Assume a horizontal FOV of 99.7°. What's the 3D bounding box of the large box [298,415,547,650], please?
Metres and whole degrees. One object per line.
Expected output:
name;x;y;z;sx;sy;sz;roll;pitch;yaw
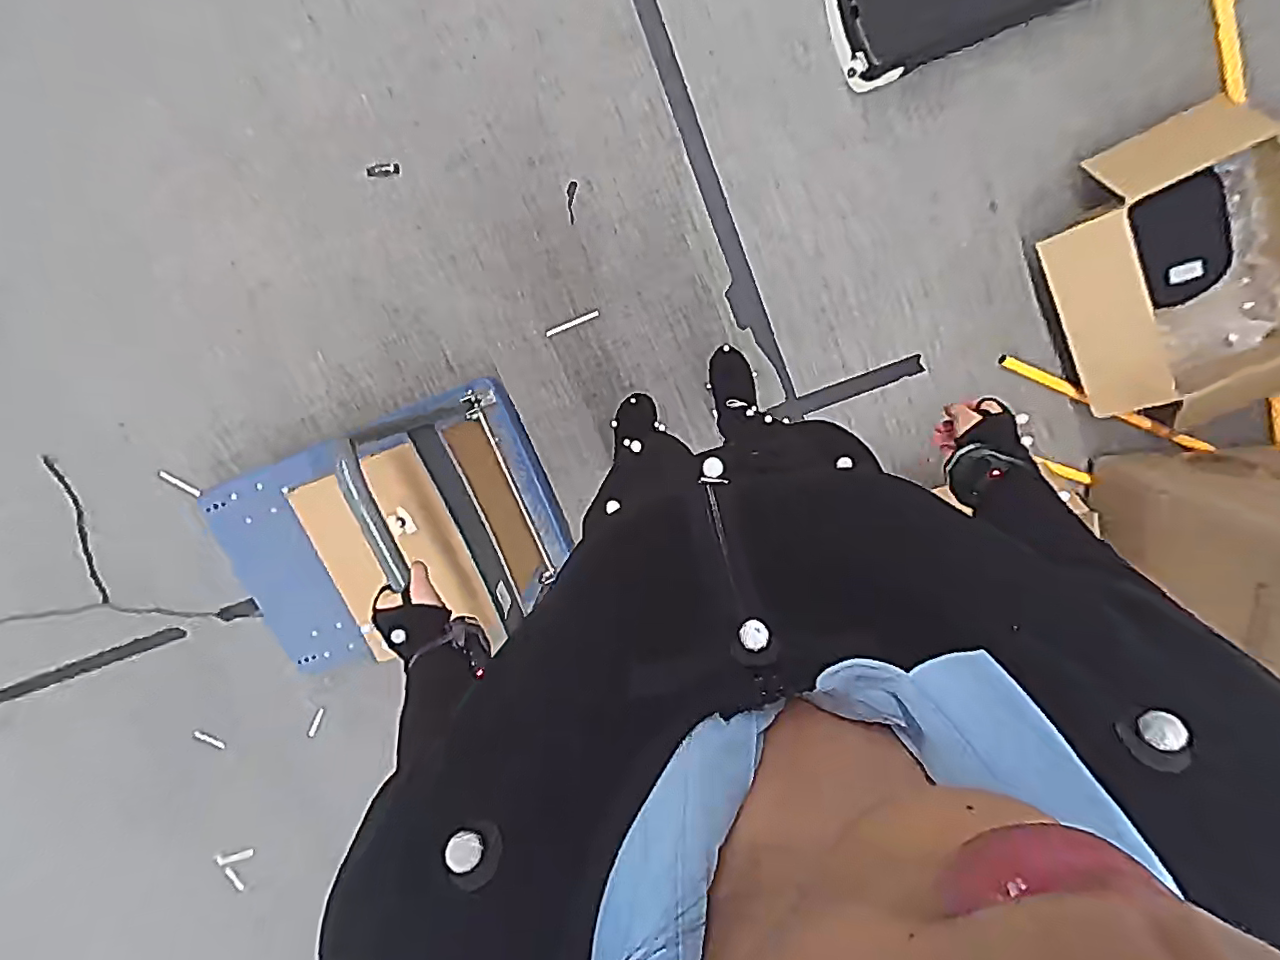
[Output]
large box;-0.461;0.103;1.242;0.320;0.320;0.408;-20;102;8
